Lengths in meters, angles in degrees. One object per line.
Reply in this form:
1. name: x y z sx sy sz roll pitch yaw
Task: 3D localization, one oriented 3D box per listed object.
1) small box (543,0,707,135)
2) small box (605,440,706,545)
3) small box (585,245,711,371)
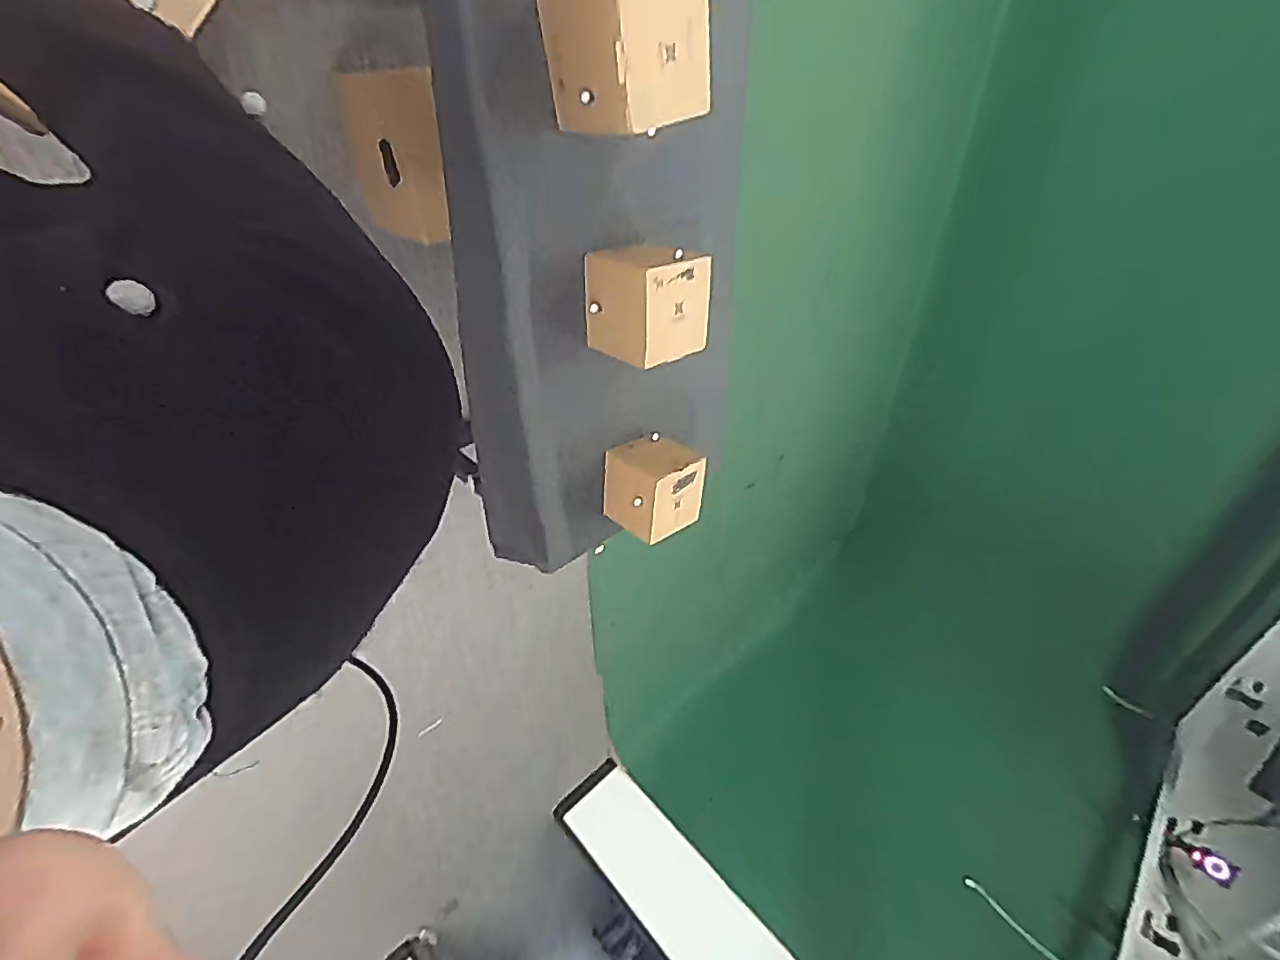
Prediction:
1. small box: -0.023 -0.618 0.791 0.179 0.176 0.168 -38 140 -29
2. small box: 0.031 0.018 1.275 0.168 0.176 0.179 -23 130 -38
3. small box: 0.010 -0.330 1.020 0.168 0.176 0.179 -27 133 -35
